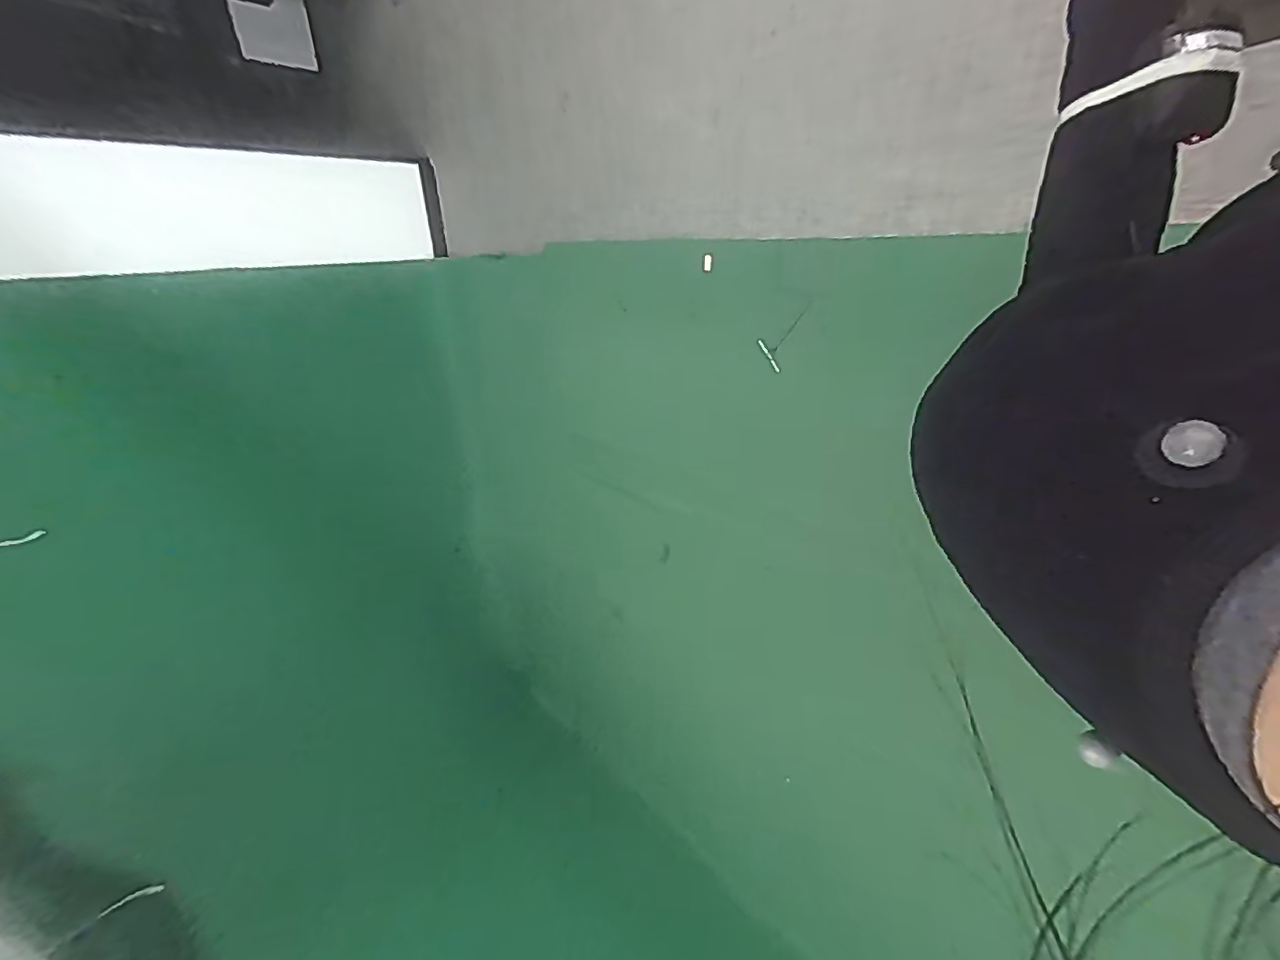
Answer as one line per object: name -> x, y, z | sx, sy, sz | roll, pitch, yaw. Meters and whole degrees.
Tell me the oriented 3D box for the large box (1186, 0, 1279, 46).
large box -> 0.556, -0.476, 0.240 | 0.408, 0.320, 0.320 | 11, 116, 41
